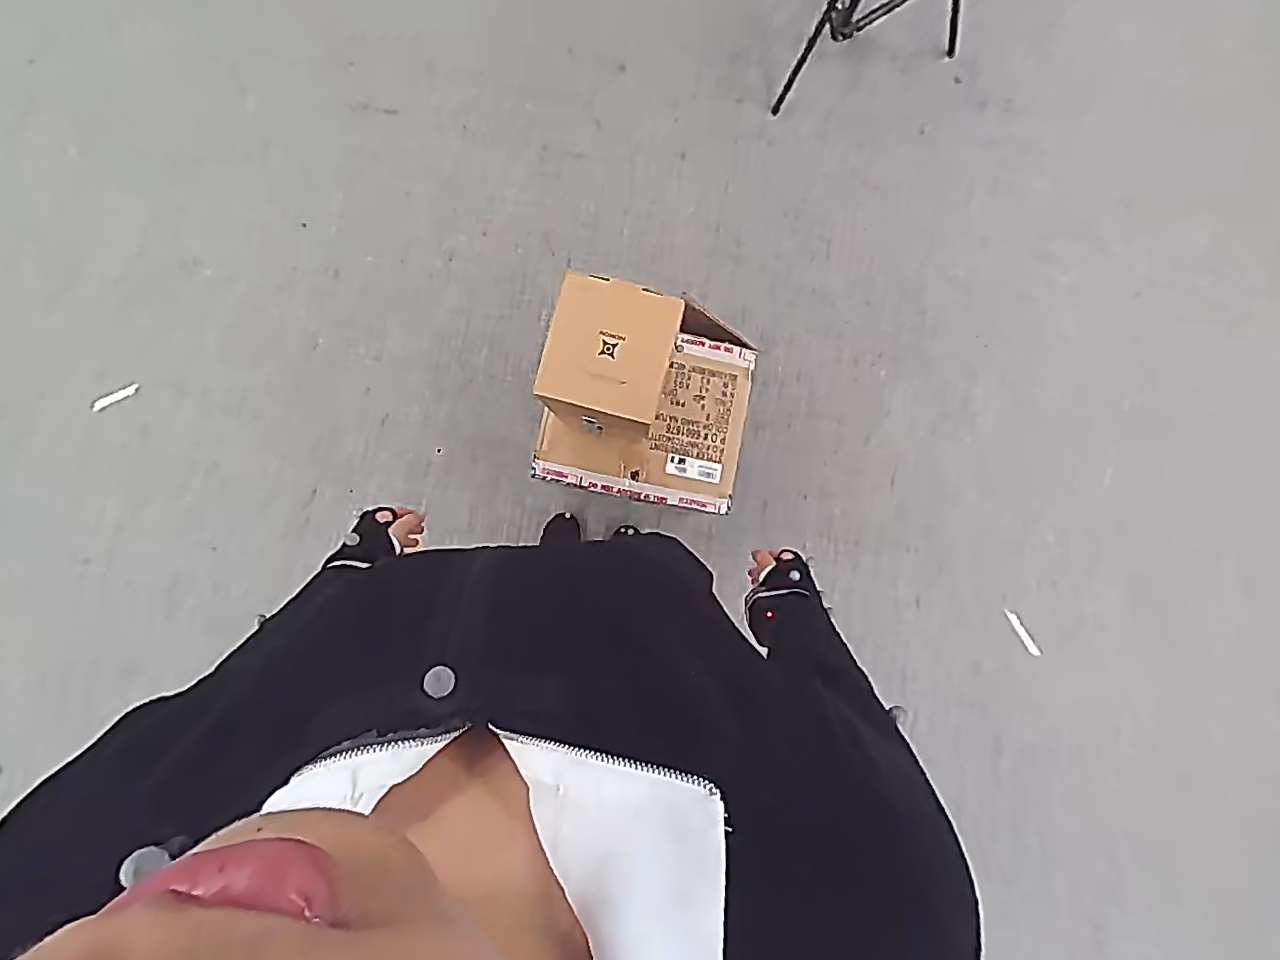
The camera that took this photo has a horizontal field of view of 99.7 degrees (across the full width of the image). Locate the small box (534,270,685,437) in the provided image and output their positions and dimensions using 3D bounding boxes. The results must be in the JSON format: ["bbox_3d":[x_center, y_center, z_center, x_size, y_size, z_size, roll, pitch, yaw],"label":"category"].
[{"bbox_3d":[-0.040,-0.173,0.790,0.168,0.176,0.179,15,89,1],"label":"small box"}]
